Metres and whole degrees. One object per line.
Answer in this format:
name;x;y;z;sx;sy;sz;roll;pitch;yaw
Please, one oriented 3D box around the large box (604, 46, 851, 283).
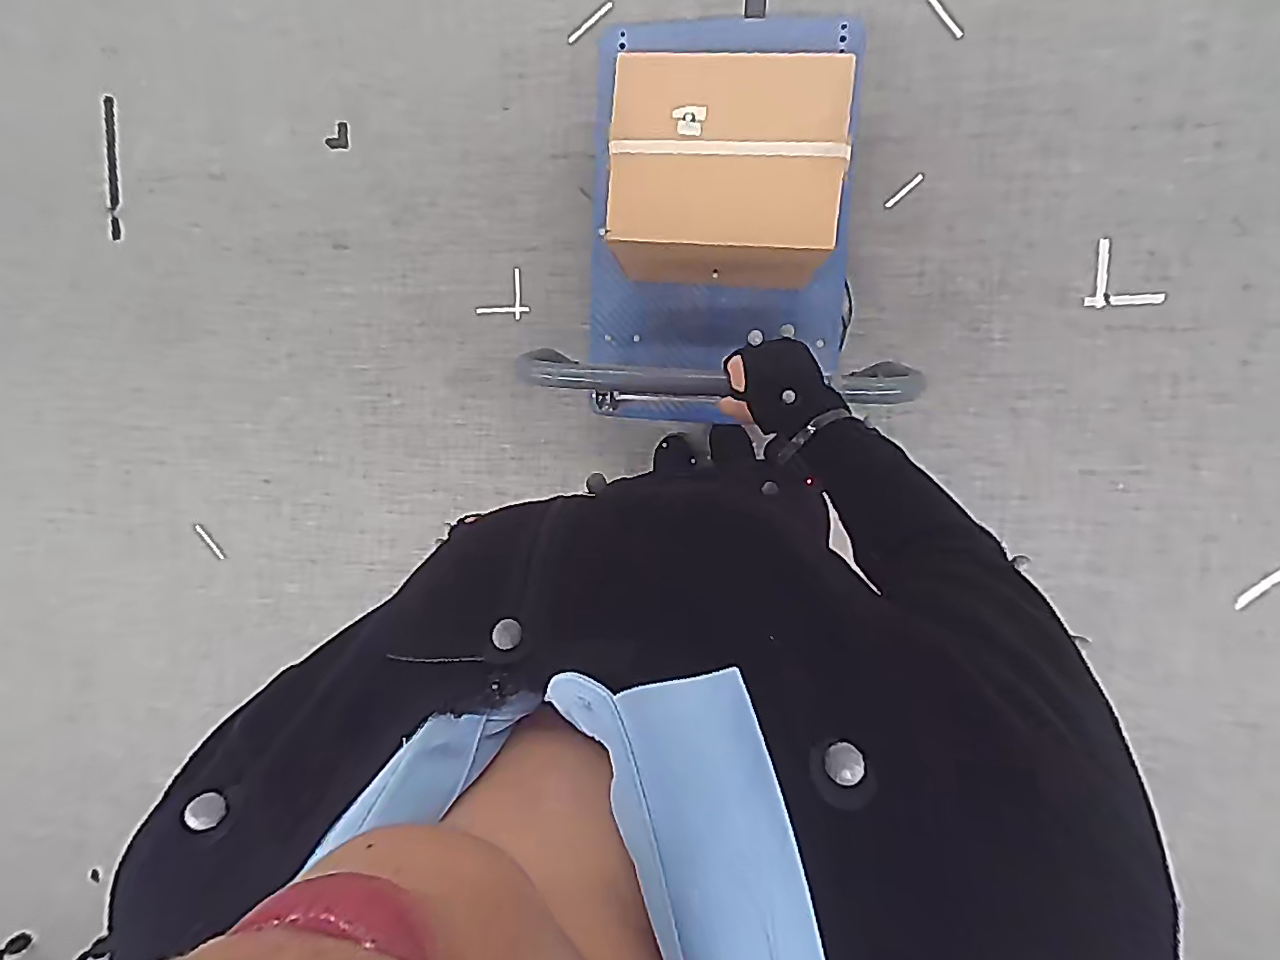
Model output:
large box;0.164;-0.585;1.069;0.408;0.320;0.320;5;96;8
